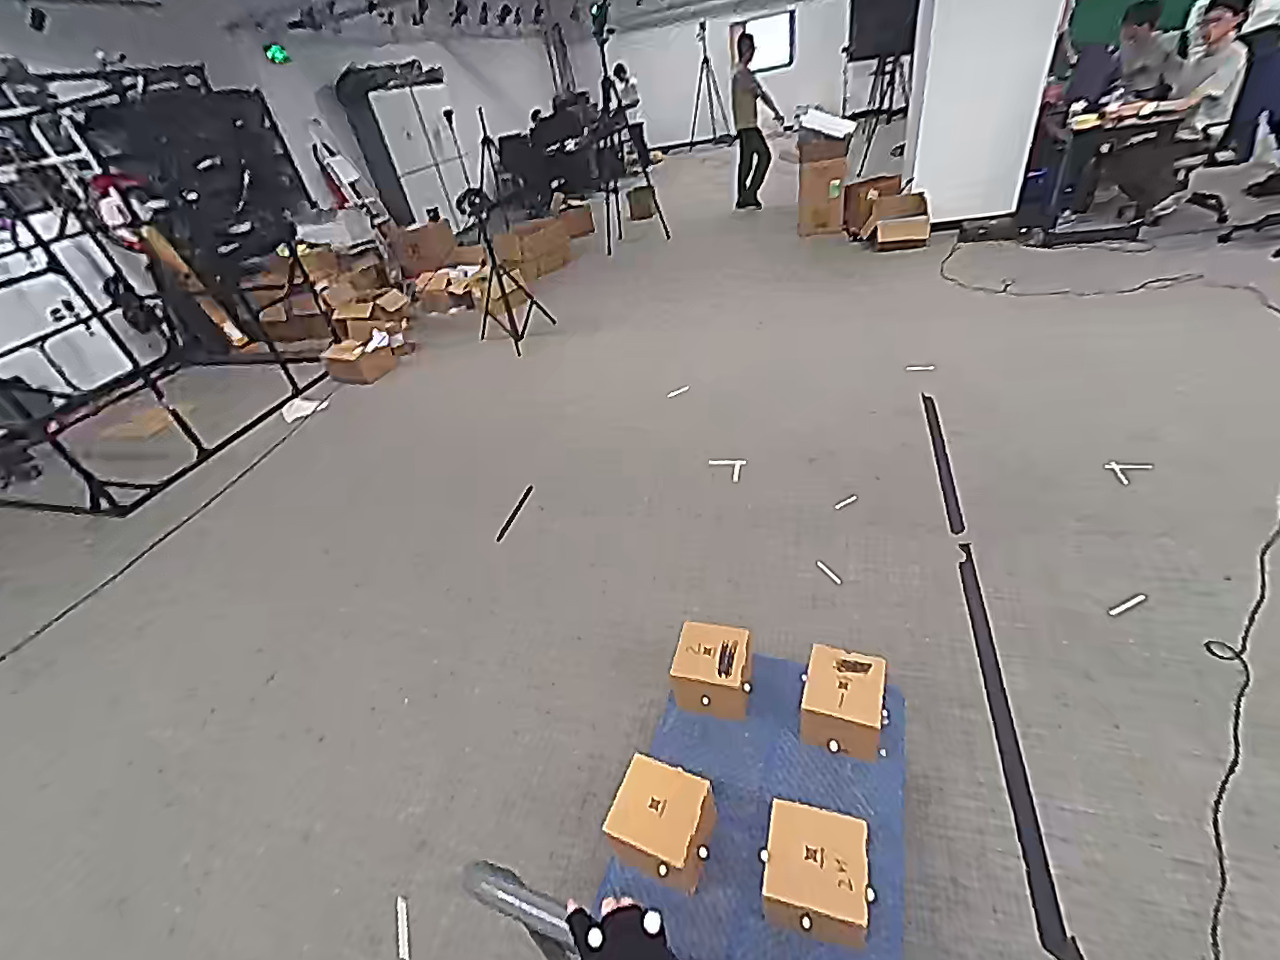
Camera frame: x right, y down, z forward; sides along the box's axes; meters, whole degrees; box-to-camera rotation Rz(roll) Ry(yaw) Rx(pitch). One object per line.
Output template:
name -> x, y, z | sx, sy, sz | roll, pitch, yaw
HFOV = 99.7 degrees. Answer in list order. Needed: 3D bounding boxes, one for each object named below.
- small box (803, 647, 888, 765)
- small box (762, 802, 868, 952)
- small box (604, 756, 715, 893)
small box -> 0.482, 0.532, 1.278 | 0.168, 0.176, 0.179 | 7, 41, 24
small box -> 0.335, 0.753, 1.026 | 0.179, 0.176, 0.168 | 3, 39, 21
small box -> 0.049, 0.729, 1.143 | 0.179, 0.176, 0.168 | 9, 41, 24
